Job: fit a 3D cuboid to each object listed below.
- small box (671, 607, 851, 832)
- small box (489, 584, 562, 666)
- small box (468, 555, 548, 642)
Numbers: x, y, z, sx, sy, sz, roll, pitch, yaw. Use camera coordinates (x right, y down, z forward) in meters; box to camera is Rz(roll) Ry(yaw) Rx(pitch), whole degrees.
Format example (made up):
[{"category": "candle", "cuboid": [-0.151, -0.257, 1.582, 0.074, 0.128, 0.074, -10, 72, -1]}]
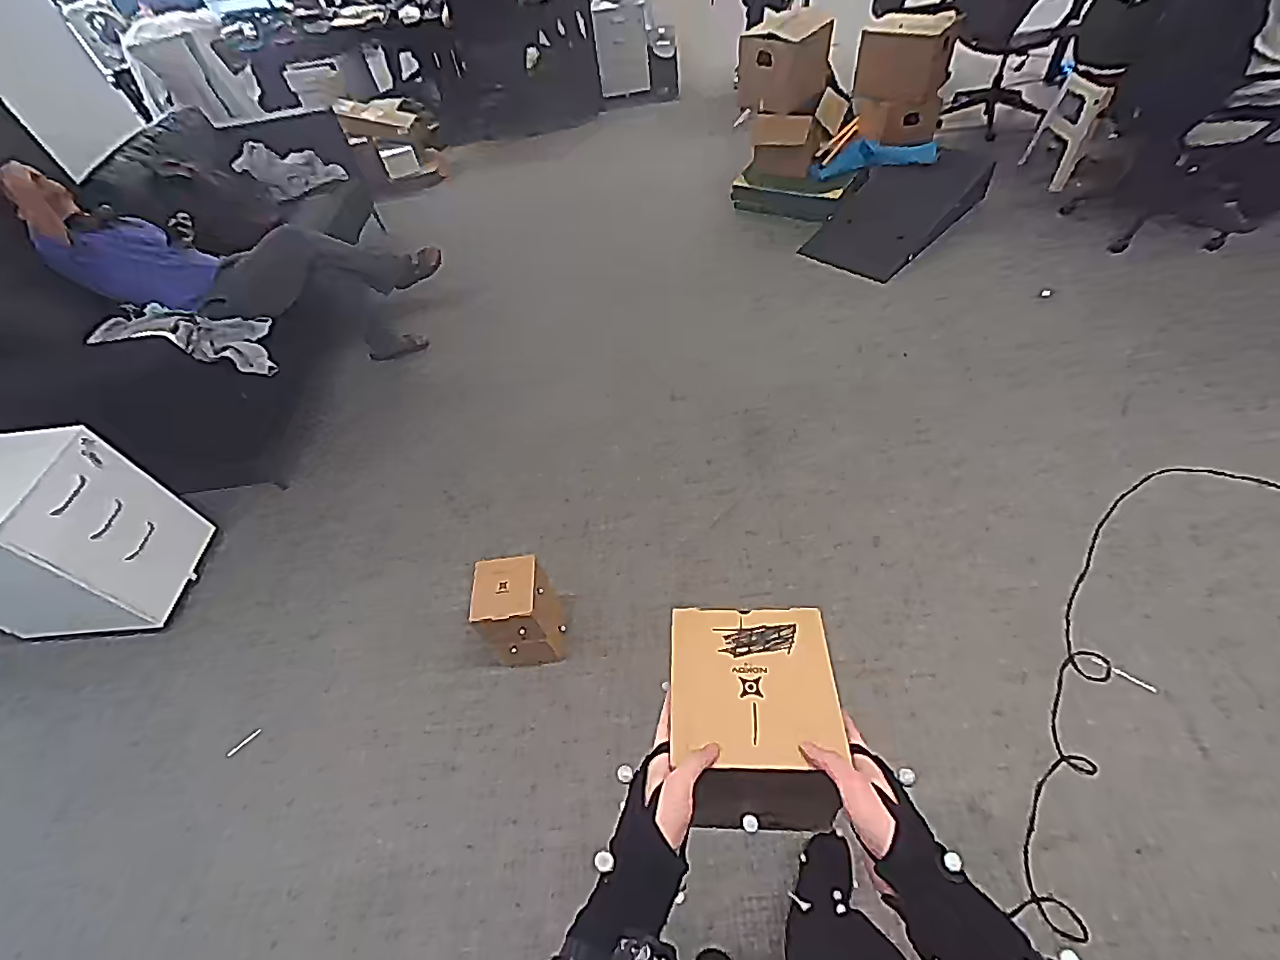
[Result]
[{"category": "small box", "cuboid": [0.122, 0.264, 0.606, 0.168, 0.176, 0.179, -2, 41, 7]}, {"category": "small box", "cuboid": [-0.331, 0.430, 1.597, 0.168, 0.176, 0.179, -7, 51, 4]}, {"category": "small box", "cuboid": [-0.351, 0.329, 1.472, 0.168, 0.176, 0.179, -8, 50, 2]}]
